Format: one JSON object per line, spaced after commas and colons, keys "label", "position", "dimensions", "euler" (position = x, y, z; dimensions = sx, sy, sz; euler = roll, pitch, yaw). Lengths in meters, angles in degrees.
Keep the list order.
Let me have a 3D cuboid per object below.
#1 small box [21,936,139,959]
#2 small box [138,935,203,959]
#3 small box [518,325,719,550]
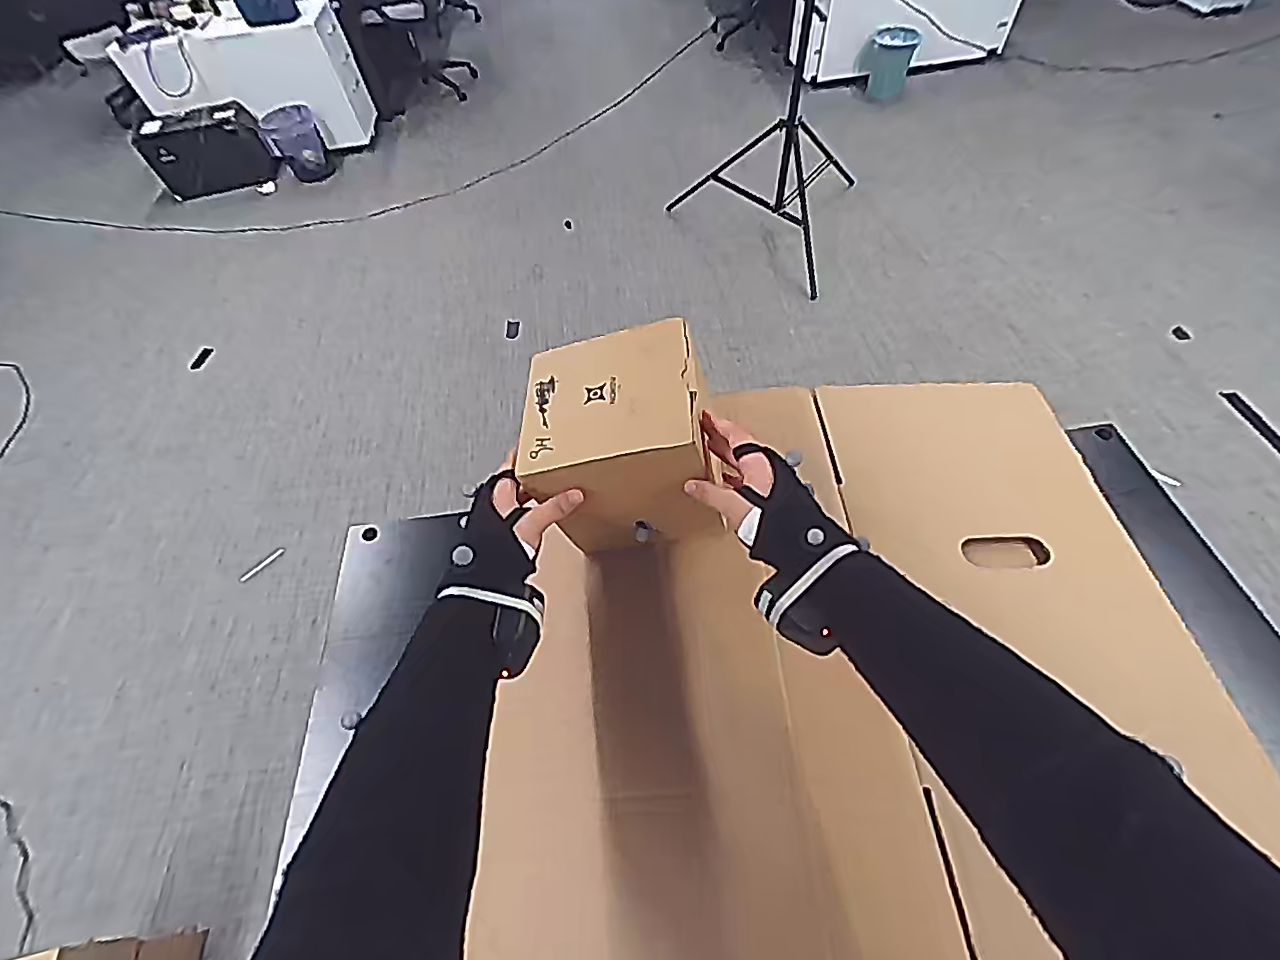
{"label": "small box", "position": [-1.013, 0.914, 0.916], "dimensions": [0.168, 0.176, 0.179], "euler": [-13, 55, -5]}
{"label": "small box", "position": [-1.001, 1.010, 1.047], "dimensions": [0.168, 0.176, 0.179], "euler": [-11, 56, -3]}
{"label": "small box", "position": [-0.011, -0.038, 0.599], "dimensions": [0.179, 0.176, 0.168], "euler": [-10, 53, 13]}
